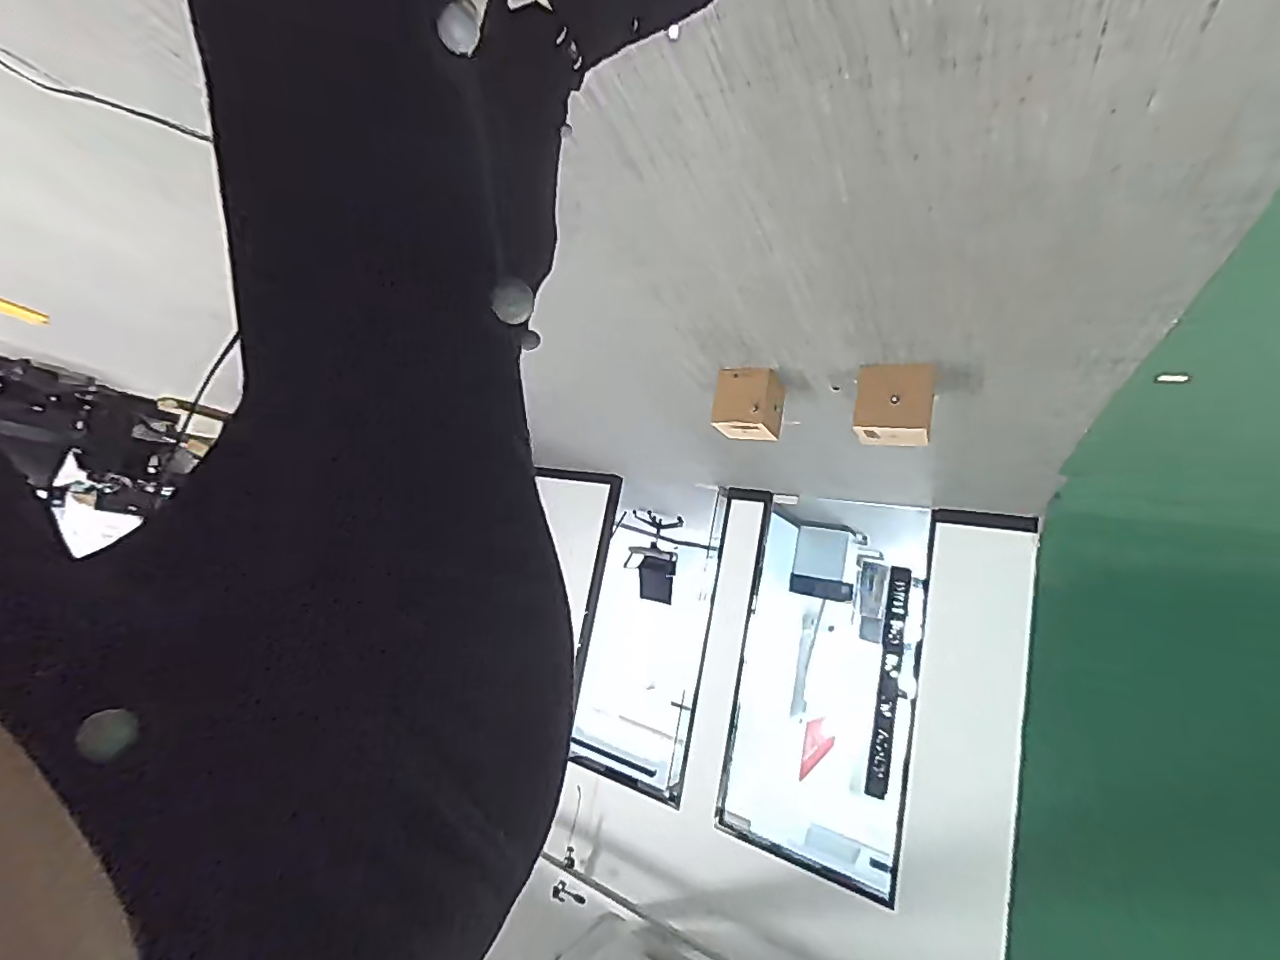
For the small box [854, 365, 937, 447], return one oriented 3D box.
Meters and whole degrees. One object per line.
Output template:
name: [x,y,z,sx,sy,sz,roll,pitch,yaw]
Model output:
small box: [0.678,-0.195,1.430,0.179,0.176,0.168,5,170,30]
